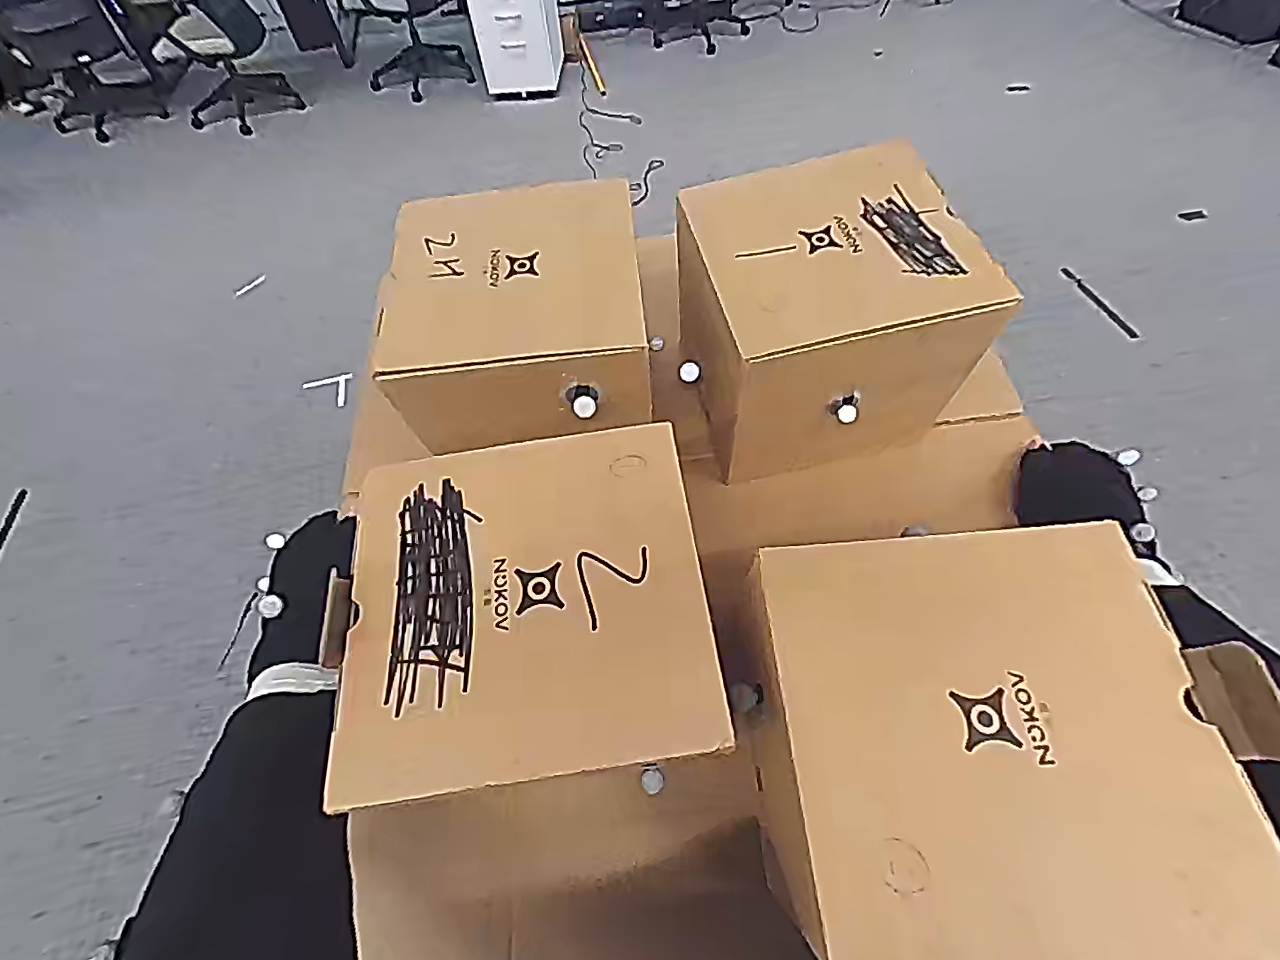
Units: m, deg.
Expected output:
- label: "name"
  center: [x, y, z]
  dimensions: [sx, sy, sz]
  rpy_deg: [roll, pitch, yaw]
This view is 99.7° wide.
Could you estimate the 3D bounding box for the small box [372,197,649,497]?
- label: "small box"
  center: [-0.085, -0.099, 0.449]
  dimensions: [0.179, 0.176, 0.168]
  rpy_deg: [-6, 61, 2]
